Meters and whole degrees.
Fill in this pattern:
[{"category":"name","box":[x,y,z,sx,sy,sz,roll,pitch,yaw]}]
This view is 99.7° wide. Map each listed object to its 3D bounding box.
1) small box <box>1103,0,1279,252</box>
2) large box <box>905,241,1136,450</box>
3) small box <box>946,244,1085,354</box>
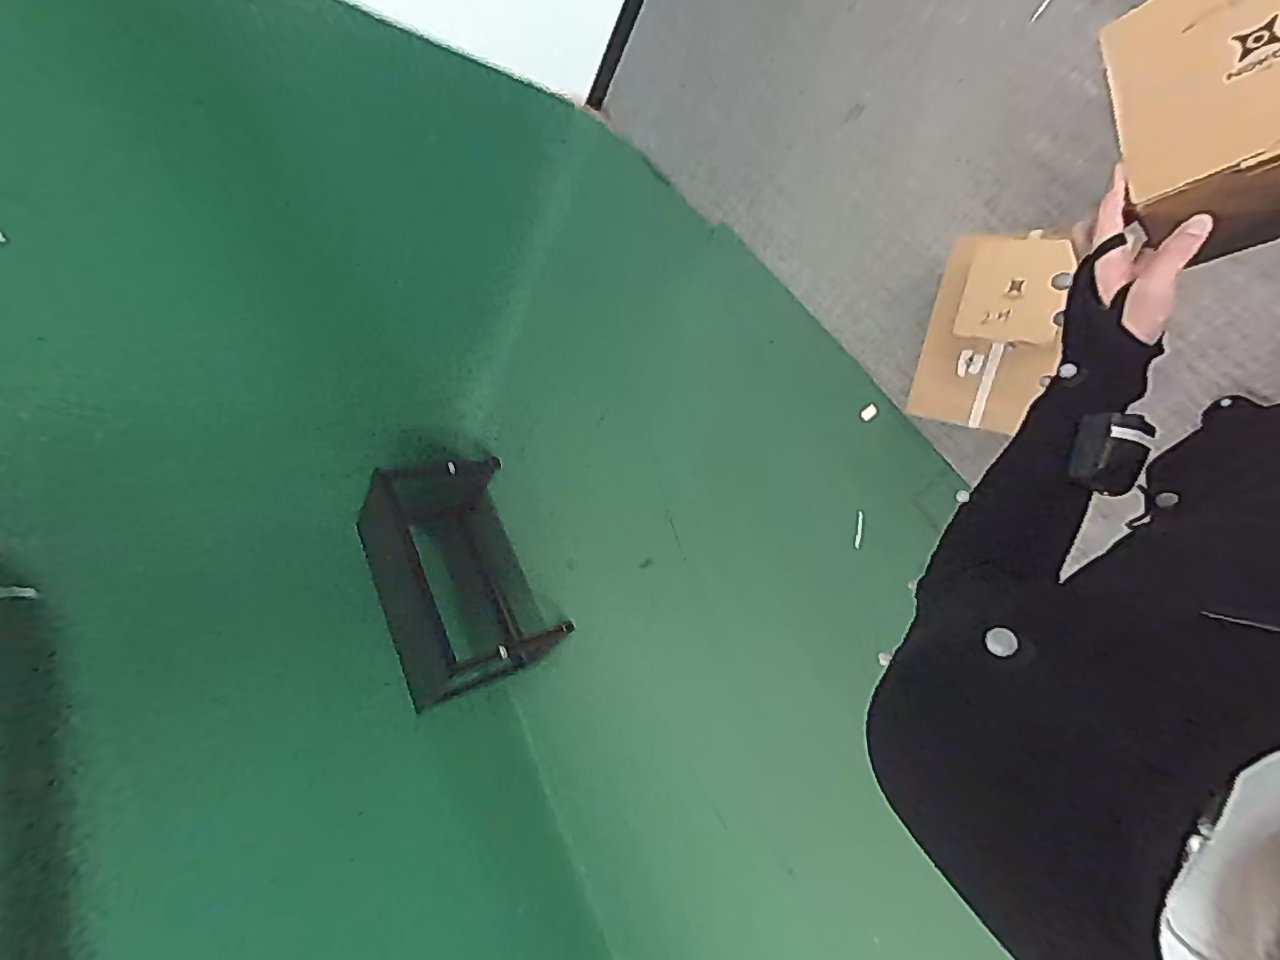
[{"category":"small box","box":[0.515,-0.314,0.445,0.168,0.176,0.179,-11,76,49]},{"category":"large box","box":[0.871,-0.311,1.249,0.320,0.320,0.408,24,114,43]},{"category":"small box","box":[0.723,-0.344,1.038,0.168,0.176,0.179,23,113,42]}]
